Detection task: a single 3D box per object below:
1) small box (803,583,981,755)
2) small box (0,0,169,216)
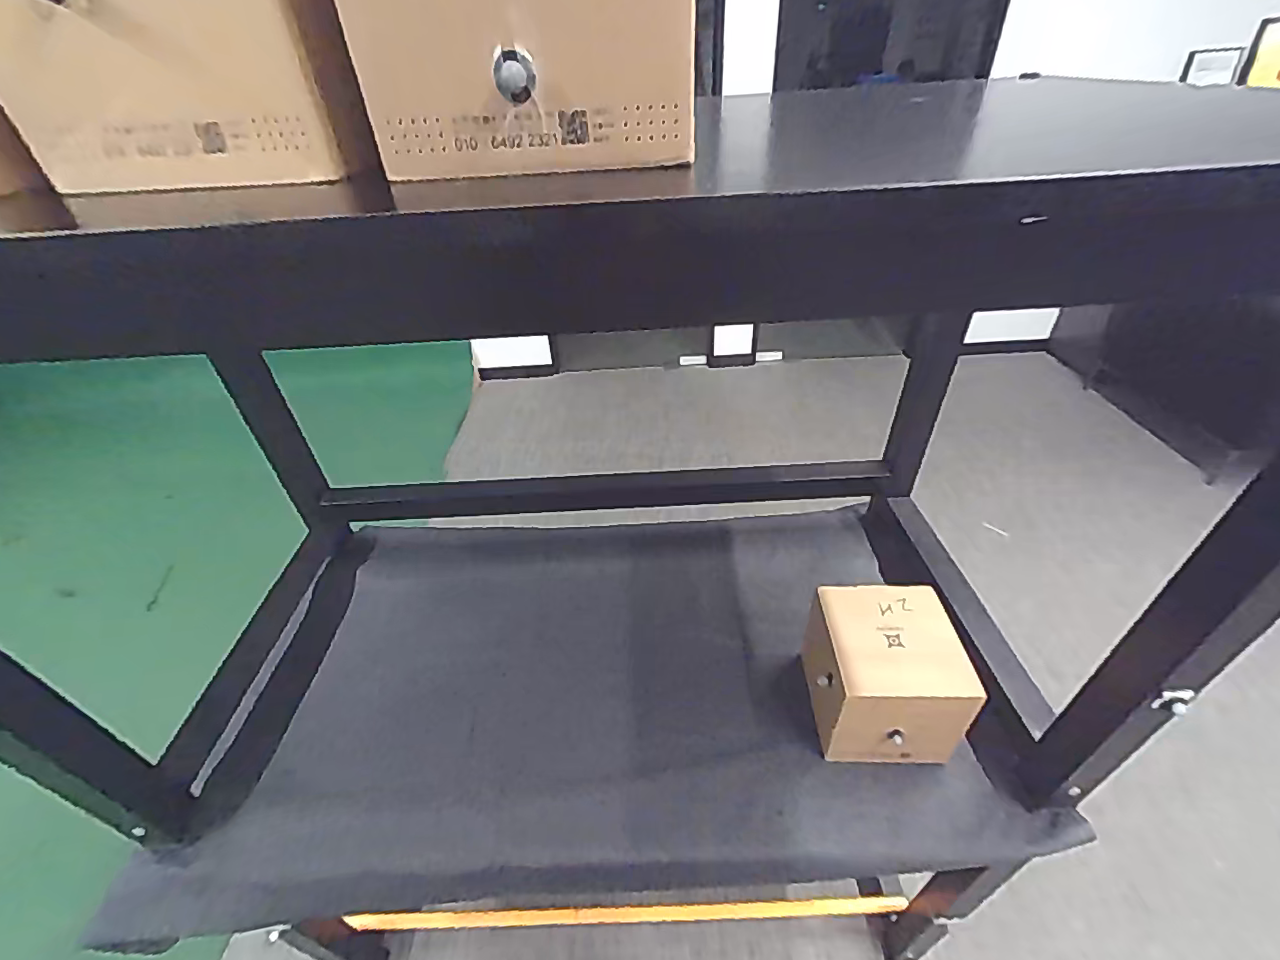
[{"bbox_3d":[0.337,0.266,0.764,0.168,0.176,0.179,0,38,3],"label":"small box"},{"bbox_3d":[-0.445,-0.265,0.324,0.168,0.176,0.179,-2,39,2],"label":"small box"}]
